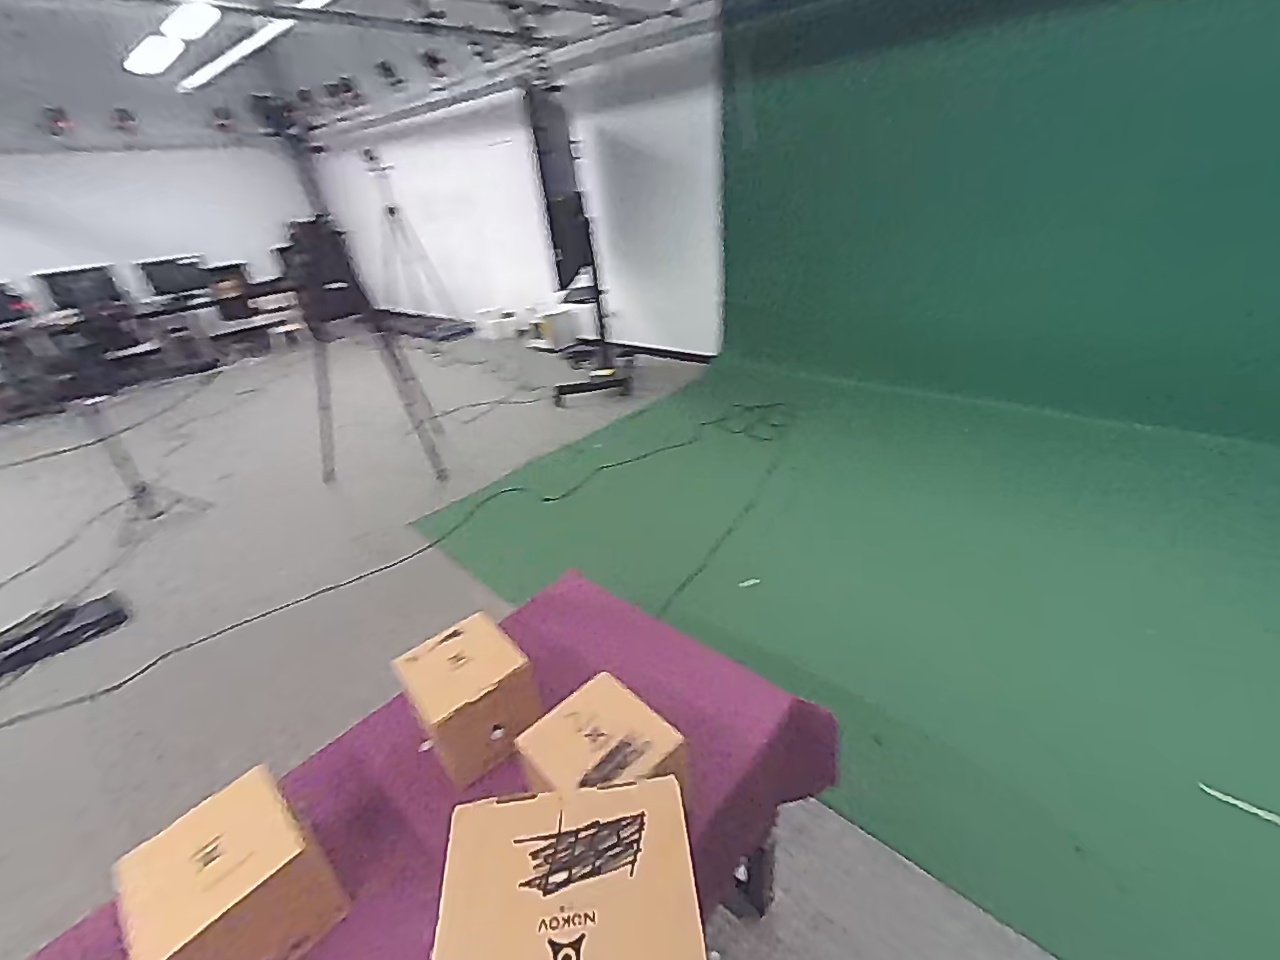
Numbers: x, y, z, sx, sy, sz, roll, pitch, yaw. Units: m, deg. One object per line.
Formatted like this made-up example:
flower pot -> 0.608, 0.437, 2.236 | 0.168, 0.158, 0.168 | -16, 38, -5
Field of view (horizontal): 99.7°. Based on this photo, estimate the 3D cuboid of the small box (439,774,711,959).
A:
small box -> -0.037, 0.341, 0.381 | 0.168, 0.176, 0.179 | -6, 39, -2

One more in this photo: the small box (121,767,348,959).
small box -> -0.516, 0.529, 0.700 | 0.179, 0.176, 0.168 | 20, 40, 38

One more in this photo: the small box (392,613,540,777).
small box -> -0.293, 0.371, 0.930 | 0.168, 0.176, 0.179 | -28, 36, -33
